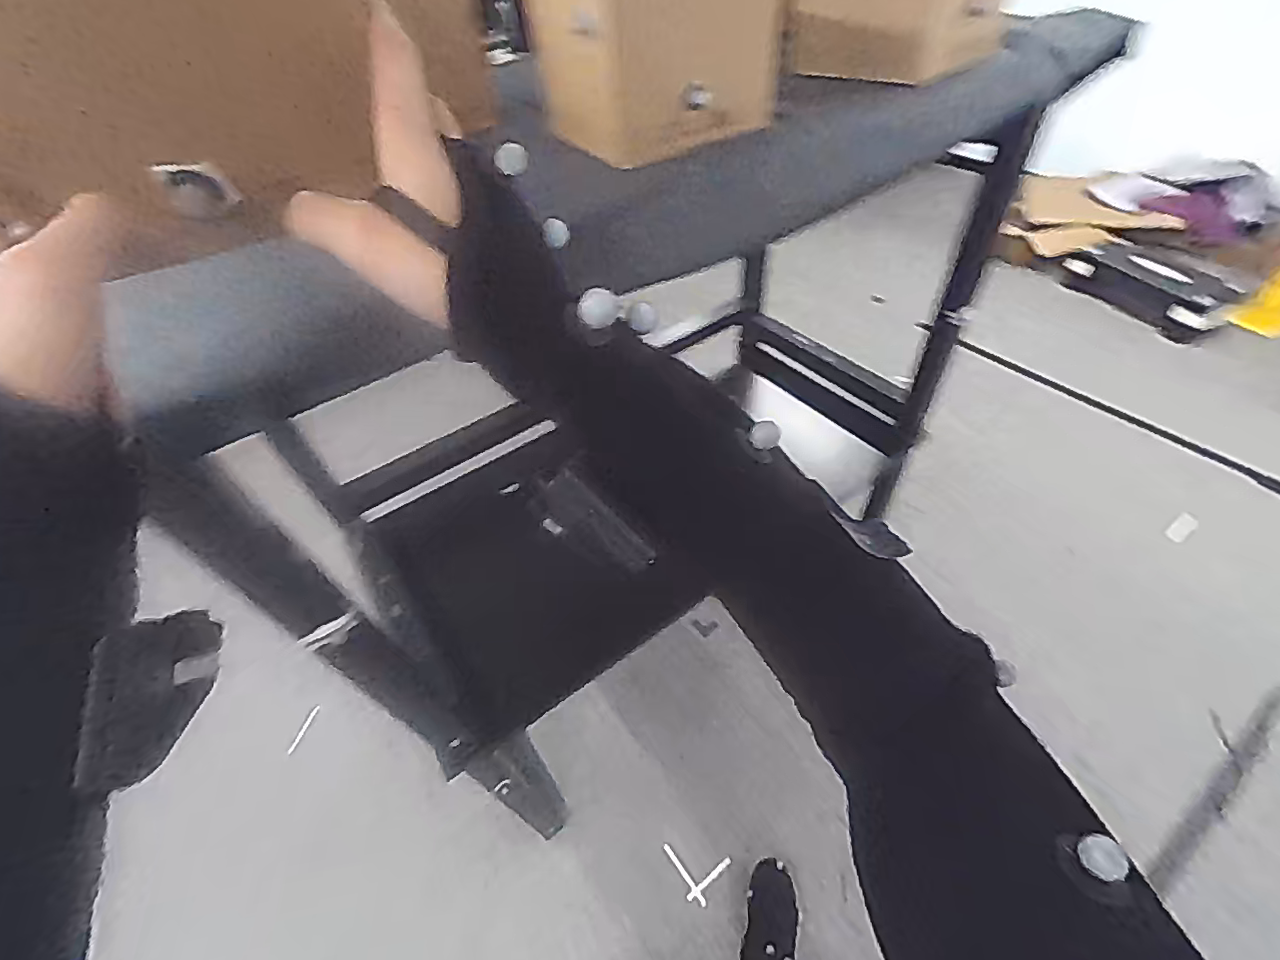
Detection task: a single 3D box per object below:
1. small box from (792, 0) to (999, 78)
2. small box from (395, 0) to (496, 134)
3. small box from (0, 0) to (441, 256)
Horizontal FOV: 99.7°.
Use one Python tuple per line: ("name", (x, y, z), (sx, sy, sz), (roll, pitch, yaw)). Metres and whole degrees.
("small box", (0.292, -0.575, 0.610), (0.168, 0.176, 0.179), (-35, 52, -22))
("small box", (-0.284, -0.497, 0.606), (0.168, 0.176, 0.179), (-27, 51, -17))
("small box", (-0.207, -0.235, 0.227), (0.168, 0.176, 0.179), (-23, 75, -10))
